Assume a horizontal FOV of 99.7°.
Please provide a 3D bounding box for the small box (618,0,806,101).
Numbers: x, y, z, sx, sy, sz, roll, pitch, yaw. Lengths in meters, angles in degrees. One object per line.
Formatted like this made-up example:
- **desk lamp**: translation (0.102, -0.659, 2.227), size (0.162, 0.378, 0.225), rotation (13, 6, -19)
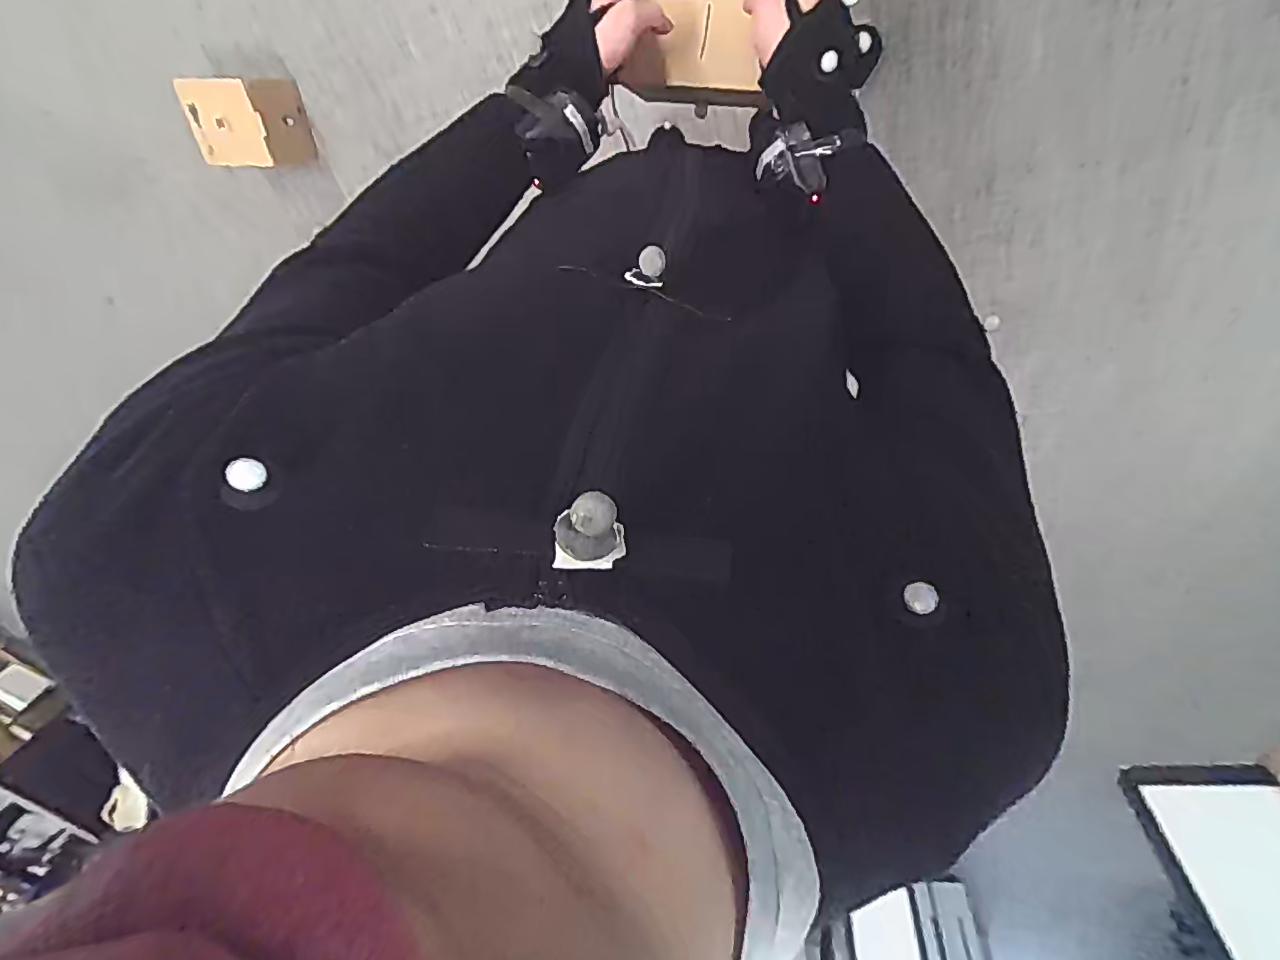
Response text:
- **small box**: translation (0.076, -0.487, 0.526), size (0.168, 0.176, 0.179), rotation (7, 121, 8)

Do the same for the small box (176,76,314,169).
- **small box**: translation (-0.899, -0.835, 1.259), size (0.179, 0.176, 0.168), rotation (5, 129, 7)
